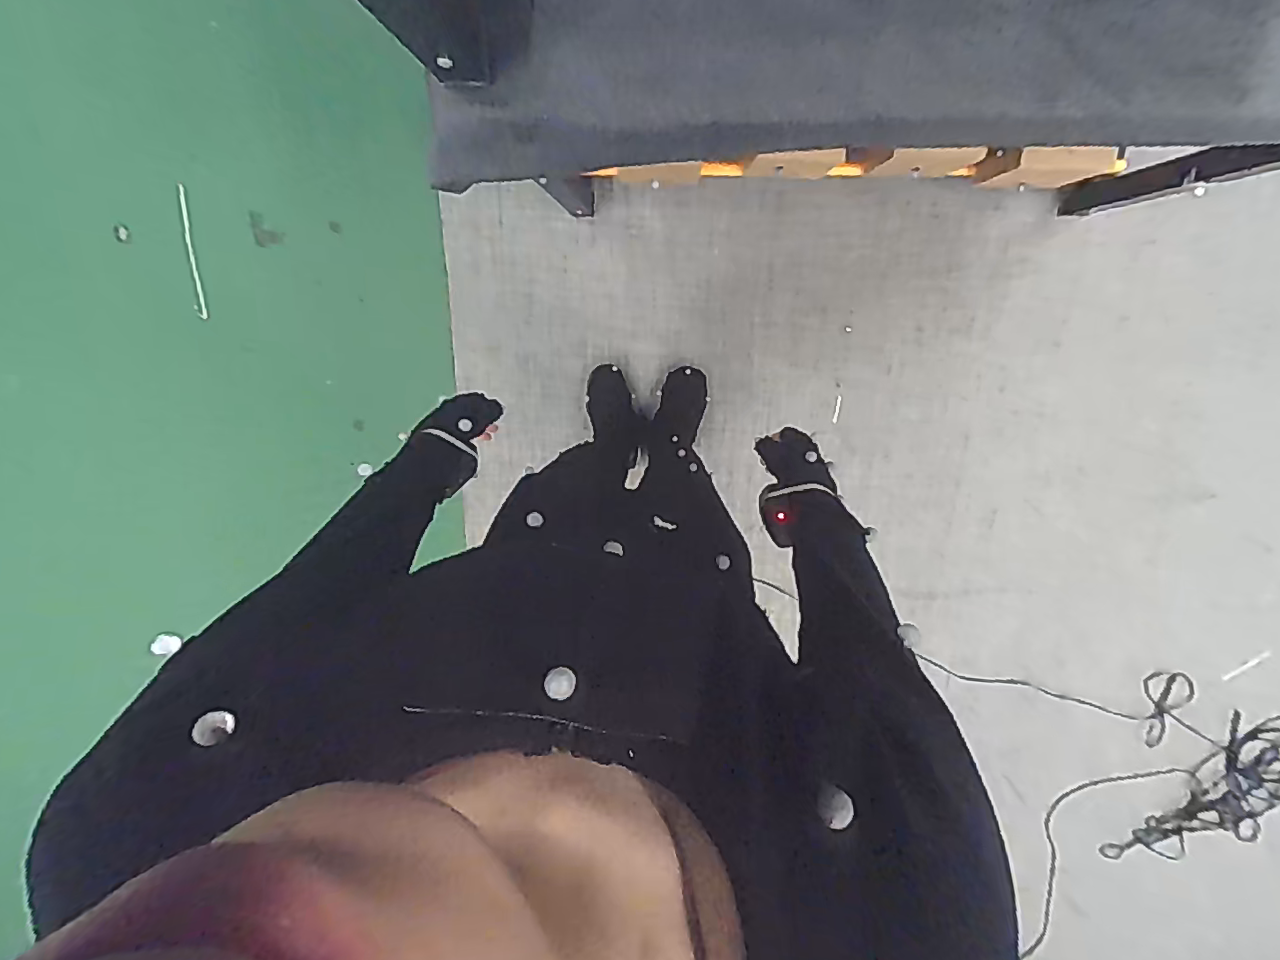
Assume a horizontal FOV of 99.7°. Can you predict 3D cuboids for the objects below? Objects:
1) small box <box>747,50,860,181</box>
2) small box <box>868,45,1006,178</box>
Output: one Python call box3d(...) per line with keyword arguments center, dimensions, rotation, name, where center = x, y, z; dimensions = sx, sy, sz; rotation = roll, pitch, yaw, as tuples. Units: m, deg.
box3d(center=(0.303, -0.689, 1.041), dimensions=(0.168, 0.176, 0.179), rotation=(3, 108, 2), name="small box")
box3d(center=(0.548, -0.685, 1.027), dimensions=(0.168, 0.176, 0.179), rotation=(2, 108, 4), name="small box")
